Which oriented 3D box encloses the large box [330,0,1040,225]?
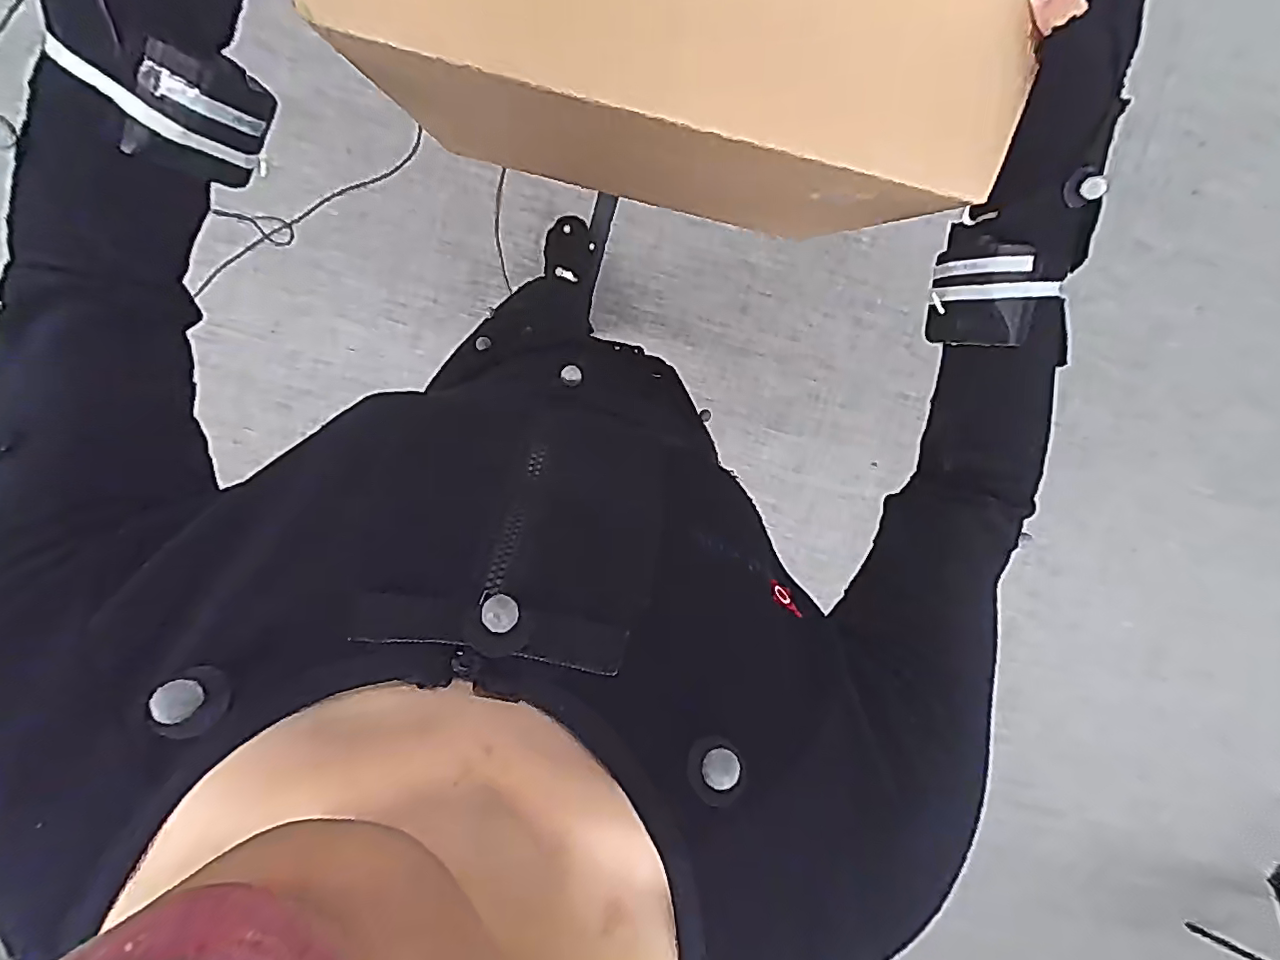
[{"bbox_3d":[0.036,-0.412,0.411,0.408,0.320,0.320,9,110,-9],"label":"large box"}]
